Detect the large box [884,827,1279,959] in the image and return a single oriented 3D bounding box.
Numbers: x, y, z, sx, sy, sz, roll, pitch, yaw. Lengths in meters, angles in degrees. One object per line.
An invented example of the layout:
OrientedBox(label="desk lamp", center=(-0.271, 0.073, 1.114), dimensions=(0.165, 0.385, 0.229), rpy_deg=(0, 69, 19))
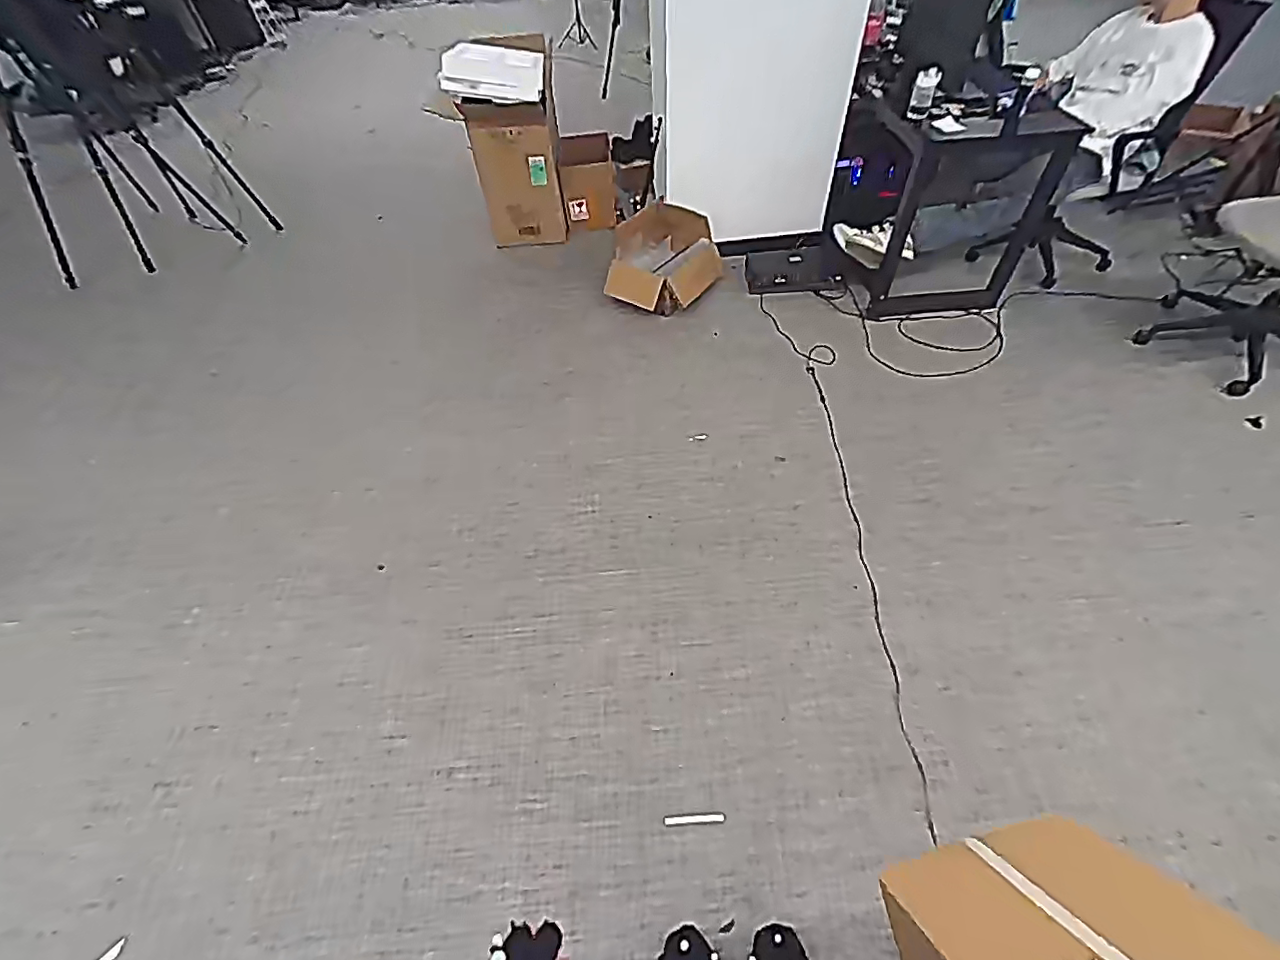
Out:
OrientedBox(label="large box", center=(0.561, 0.697, 0.623), dimensions=(0.320, 0.408, 0.320), rpy_deg=(-13, 85, -6))
